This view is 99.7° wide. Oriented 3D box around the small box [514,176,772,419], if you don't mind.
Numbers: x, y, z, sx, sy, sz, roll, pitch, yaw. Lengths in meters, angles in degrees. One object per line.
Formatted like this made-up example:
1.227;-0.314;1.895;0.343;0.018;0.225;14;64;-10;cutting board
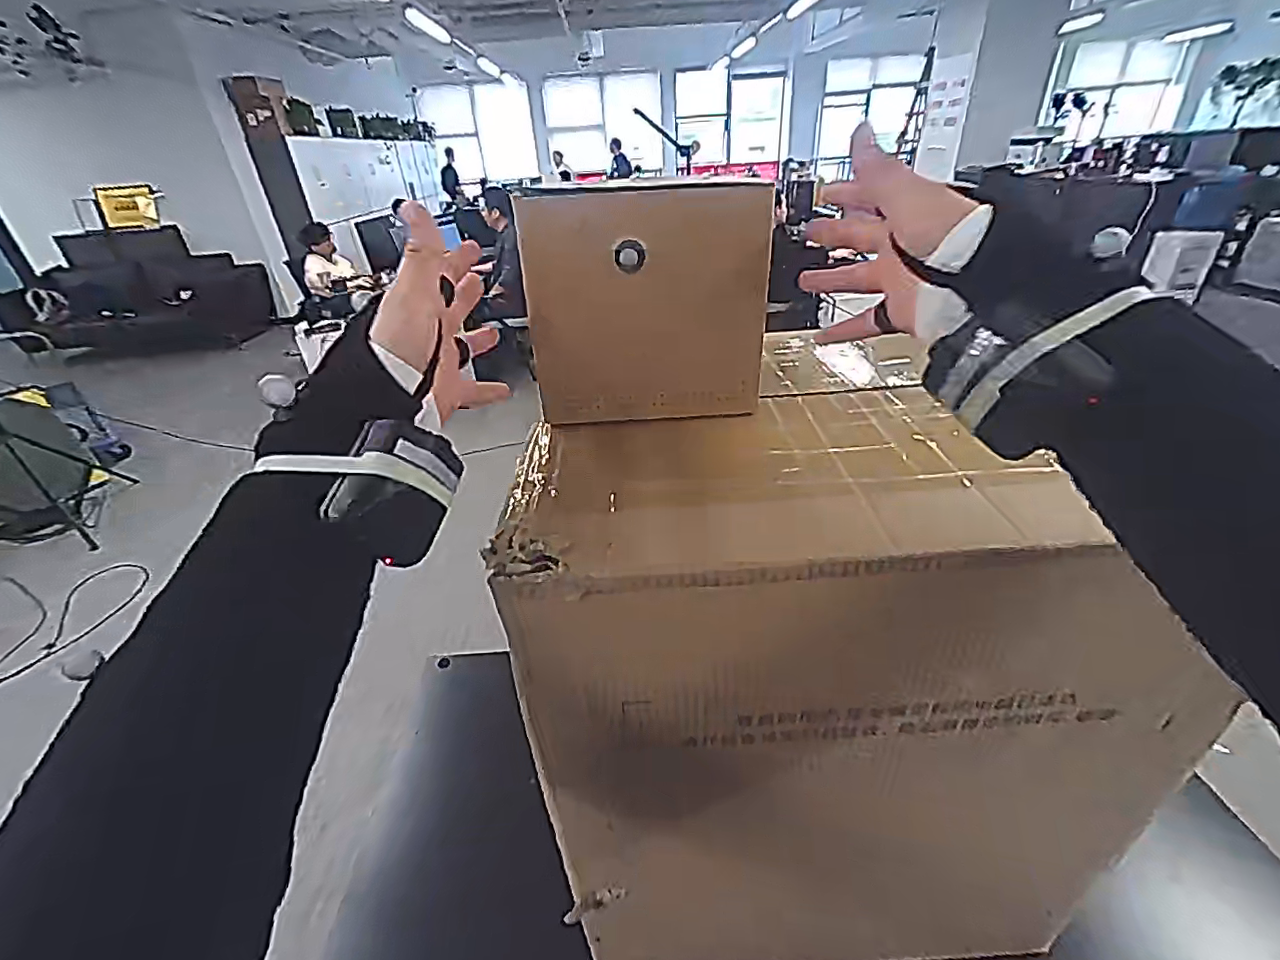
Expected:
0.003;-0.158;0.462;0.179;0.176;0.168;-3;30;-1;small box
